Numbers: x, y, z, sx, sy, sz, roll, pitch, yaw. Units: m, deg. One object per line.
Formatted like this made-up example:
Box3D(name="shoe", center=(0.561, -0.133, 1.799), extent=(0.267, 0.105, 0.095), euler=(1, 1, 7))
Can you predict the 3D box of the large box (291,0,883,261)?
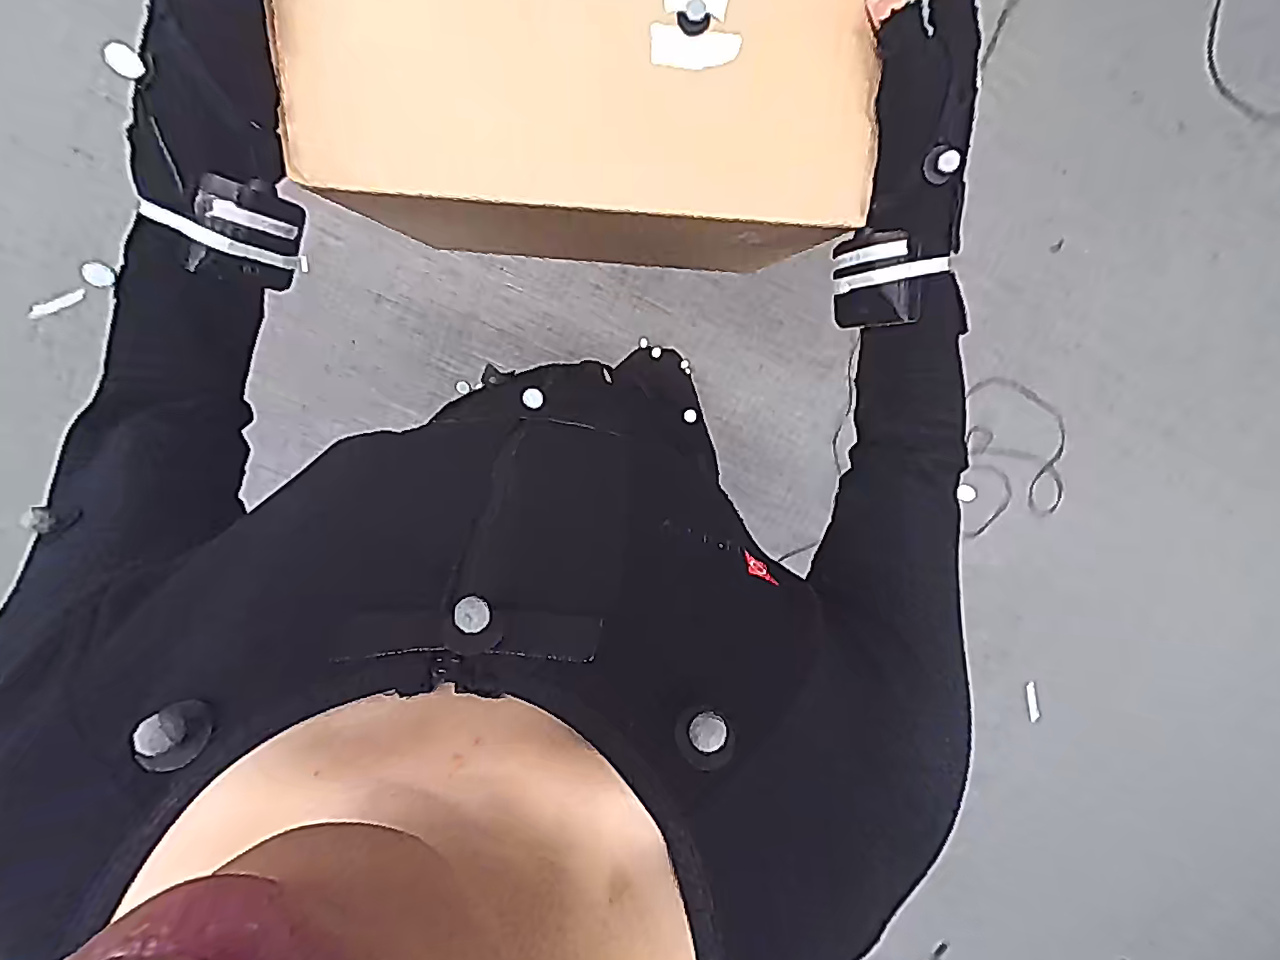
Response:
Box3D(name="large box", center=(-0.040, -0.392, 0.498), extent=(0.408, 0.320, 0.320), euler=(1, 105, -4))
